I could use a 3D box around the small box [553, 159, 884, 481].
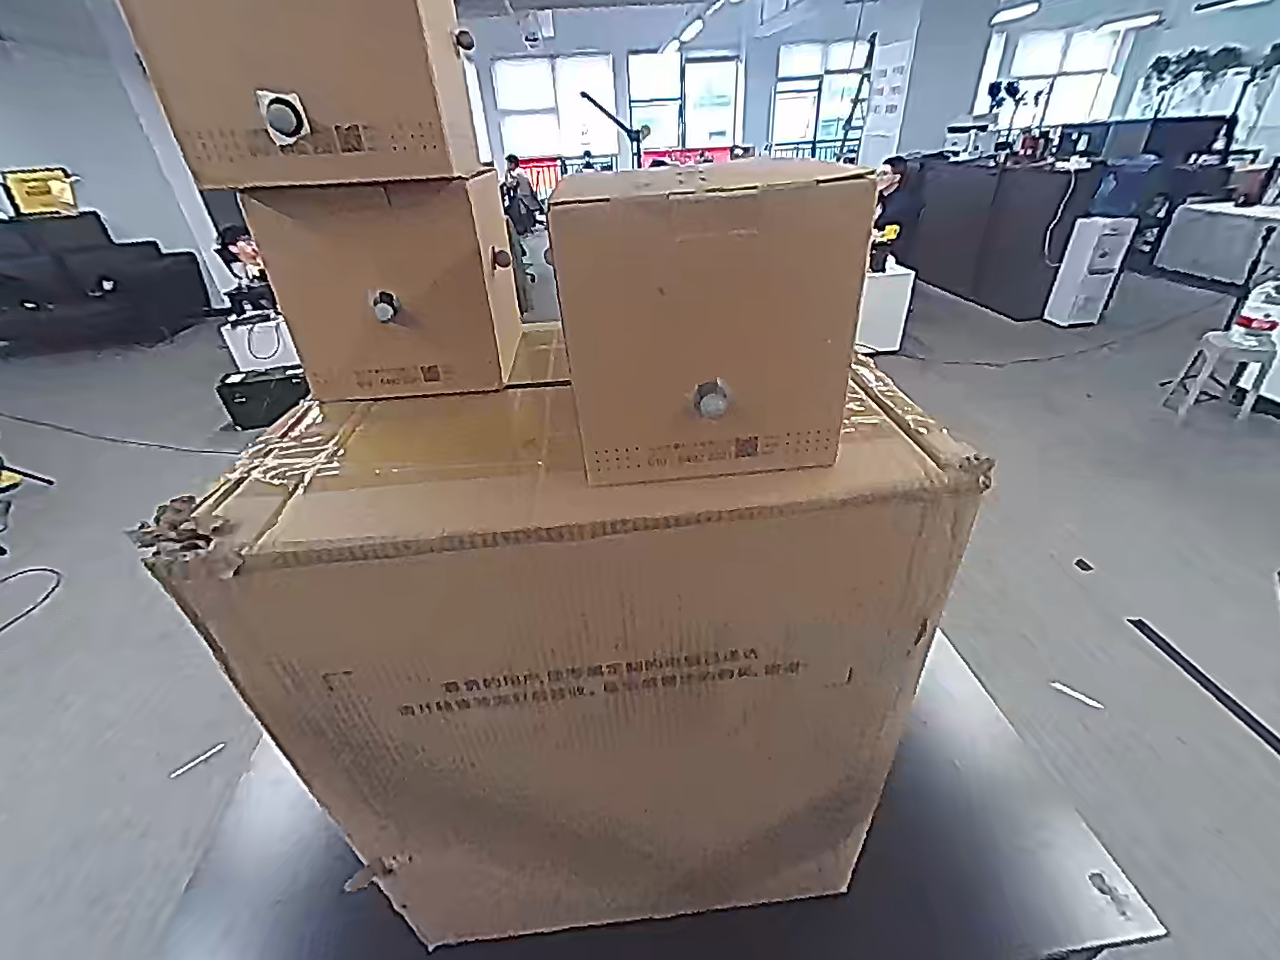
[{"bbox_3d":[0.040,-0.117,0.376,0.168,0.176,0.179,-5,34,0],"label":"small box"}]

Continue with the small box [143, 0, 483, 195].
[{"bbox_3d":[-0.215,-0.305,0.385,0.168,0.176,0.179,-7,33,-5],"label":"small box"}]

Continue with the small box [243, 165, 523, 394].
[{"bbox_3d":[-0.207,-0.186,0.501,0.168,0.176,0.179,-5,33,-4],"label":"small box"}]
